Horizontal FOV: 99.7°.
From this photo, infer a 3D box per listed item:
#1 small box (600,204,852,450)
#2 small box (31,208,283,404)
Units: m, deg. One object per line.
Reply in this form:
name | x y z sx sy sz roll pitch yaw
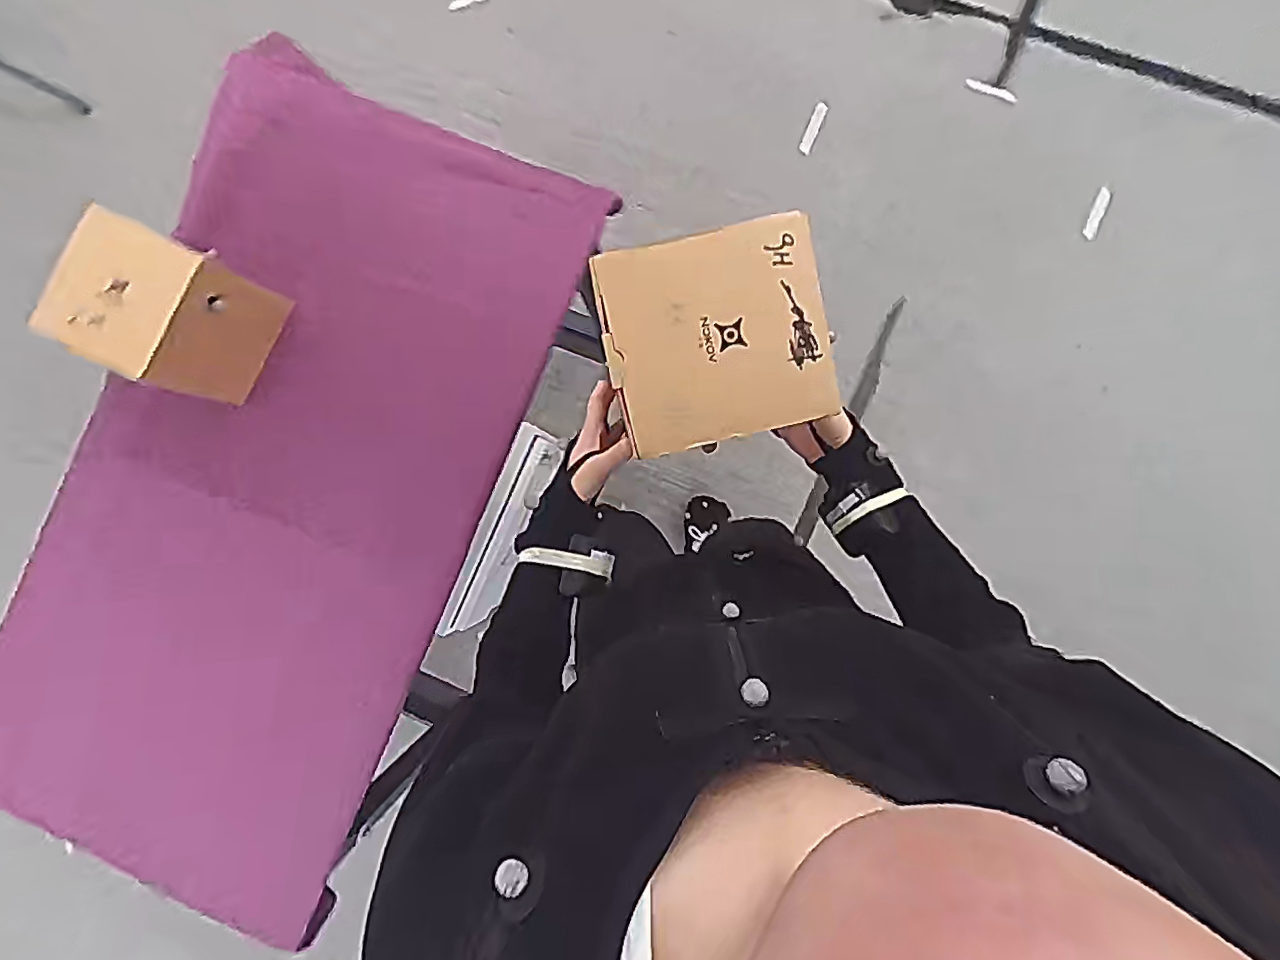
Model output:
small box | 0.069 -0.126 0.505 0.179 0.176 0.168 -12 97 0
small box | -0.642 -0.225 0.746 0.168 0.176 0.179 26 90 3
